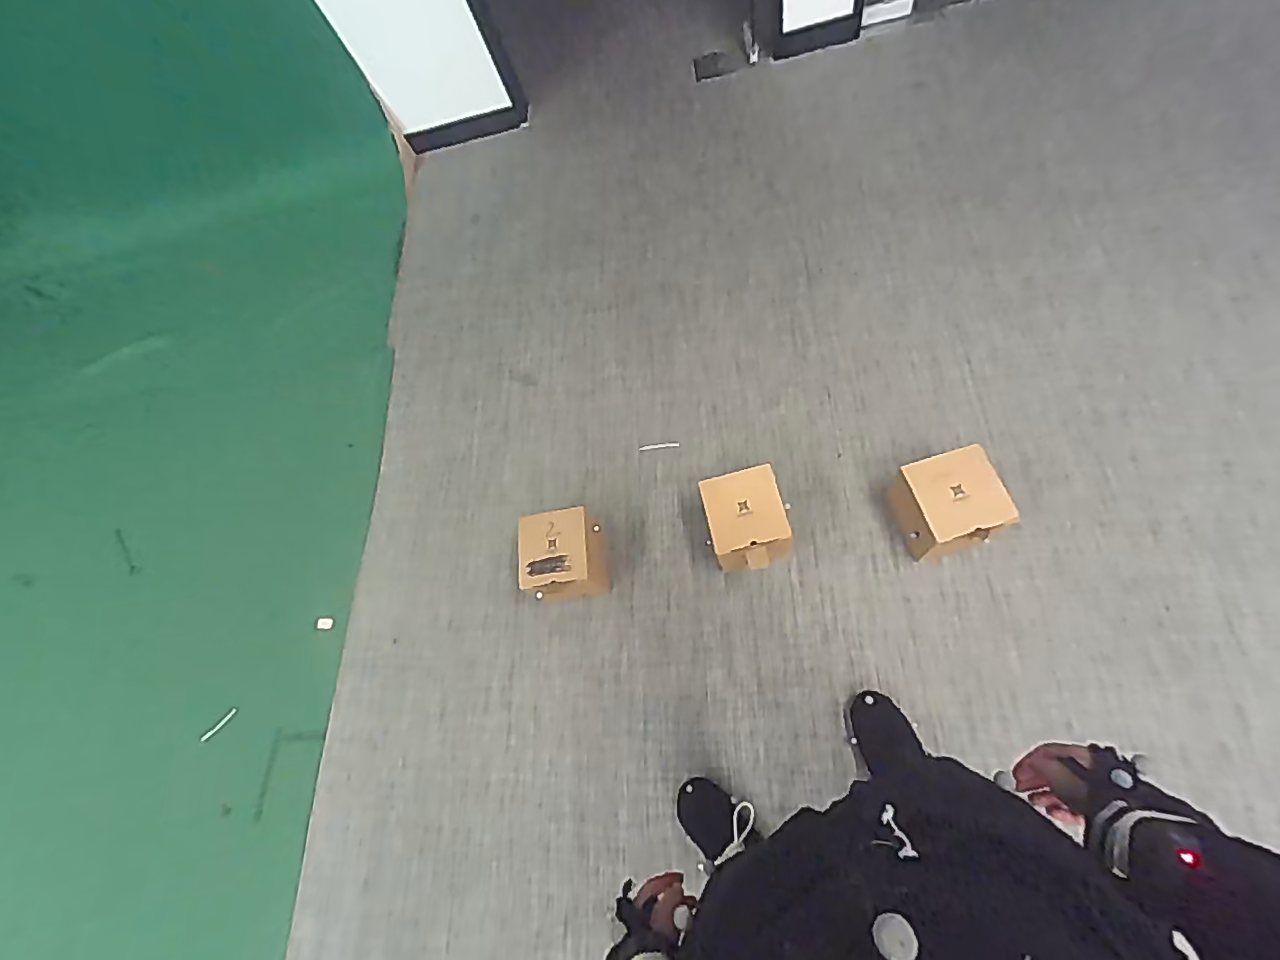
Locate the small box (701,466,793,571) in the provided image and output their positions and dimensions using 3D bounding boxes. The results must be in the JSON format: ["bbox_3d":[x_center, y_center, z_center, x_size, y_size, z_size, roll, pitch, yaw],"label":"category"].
[{"bbox_3d":[0.244,0.094,1.241,0.168,0.176,0.179,-15,66,8],"label":"small box"}]

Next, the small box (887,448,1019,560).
[{"bbox_3d":[0.654,0.061,1.154,0.168,0.176,0.179,-17,65,5],"label":"small box"}]
